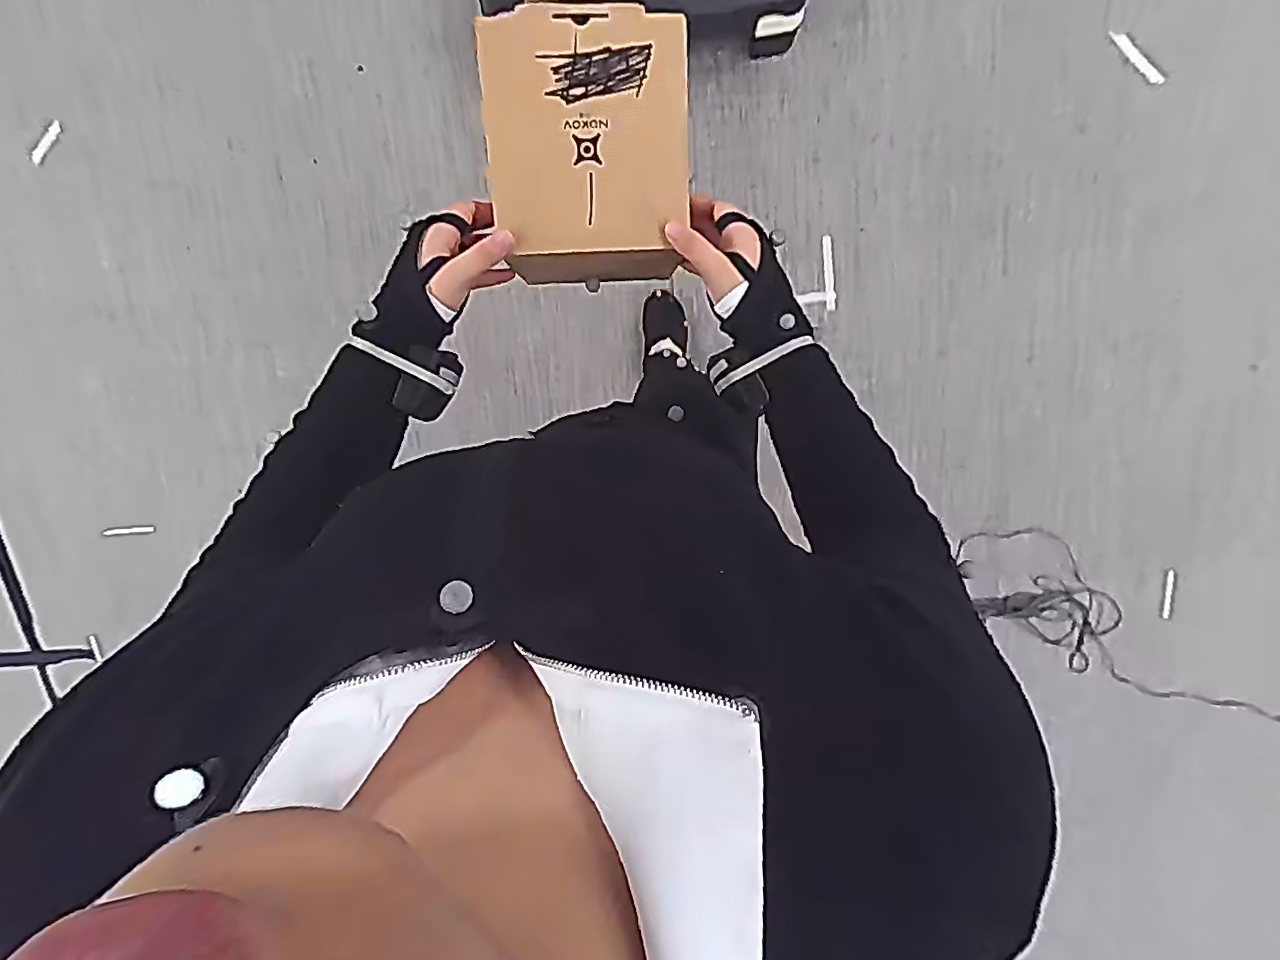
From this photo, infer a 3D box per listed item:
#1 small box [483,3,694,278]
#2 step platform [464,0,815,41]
[{"bbox_3d":[-0.044,-0.300,0.514,0.168,0.176,0.179,-3,102,-3],"label":"small box"},{"bbox_3d":[0.008,-0.979,0.939,0.684,0.204,0.286,-7,102,3],"label":"step platform"}]
